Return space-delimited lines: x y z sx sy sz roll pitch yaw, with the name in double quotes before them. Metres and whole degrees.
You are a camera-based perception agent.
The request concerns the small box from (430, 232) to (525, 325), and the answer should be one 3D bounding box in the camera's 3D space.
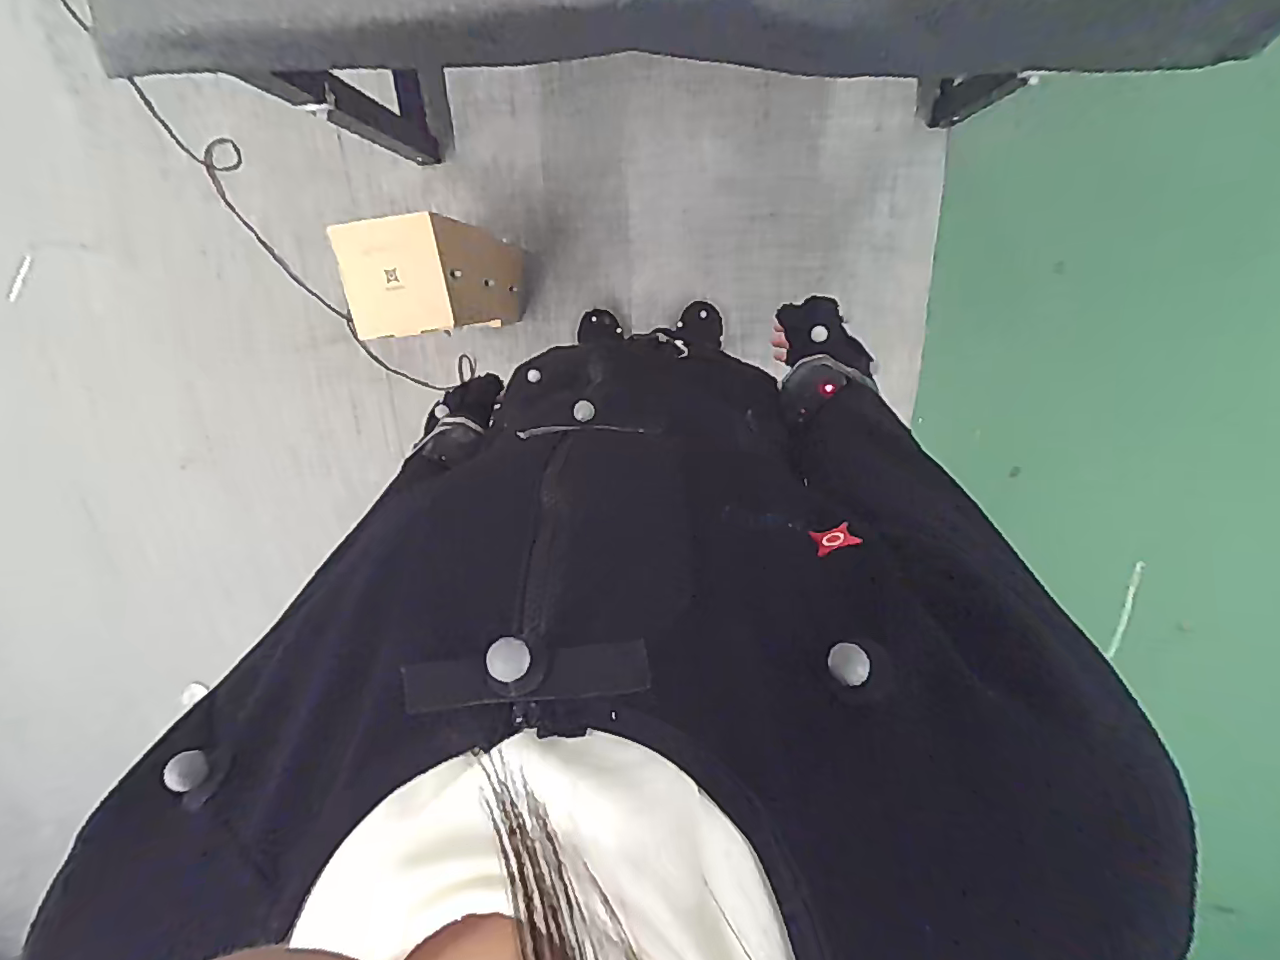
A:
"small box" -0.363 -0.457 1.232 0.168 0.176 0.179 6 111 1
